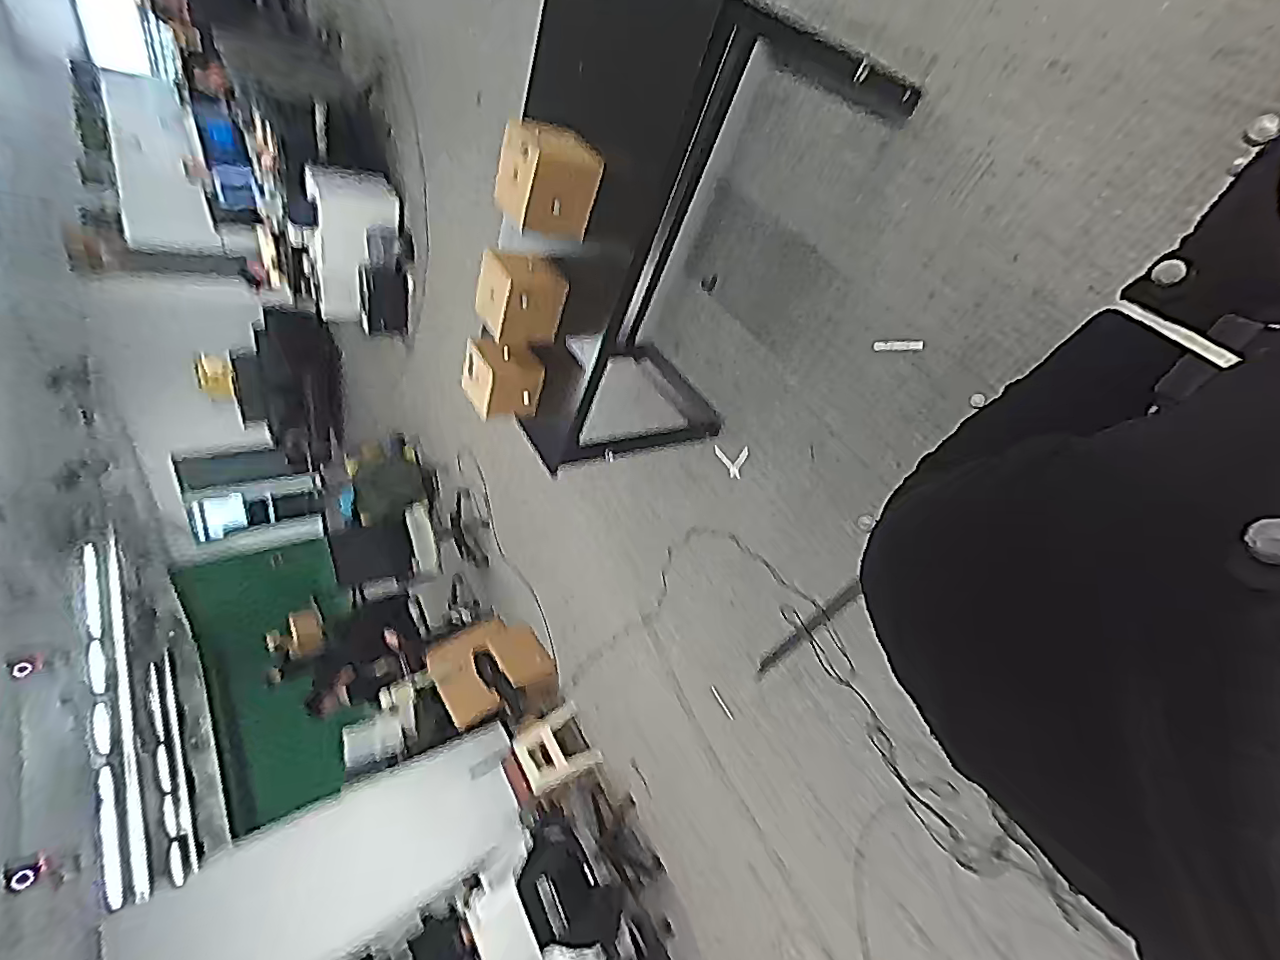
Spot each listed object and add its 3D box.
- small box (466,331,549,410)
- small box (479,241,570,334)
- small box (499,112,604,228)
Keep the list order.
[{"bbox_3d":[-0.398,-0.330,1.618,0.179,0.176,0.168,52,137,28],"label":"small box"},{"bbox_3d":[-0.307,-0.510,1.443,0.168,0.176,0.179,54,137,28],"label":"small box"},{"bbox_3d":[-0.206,-0.708,1.253,0.168,0.176,0.179,55,139,26],"label":"small box"}]
